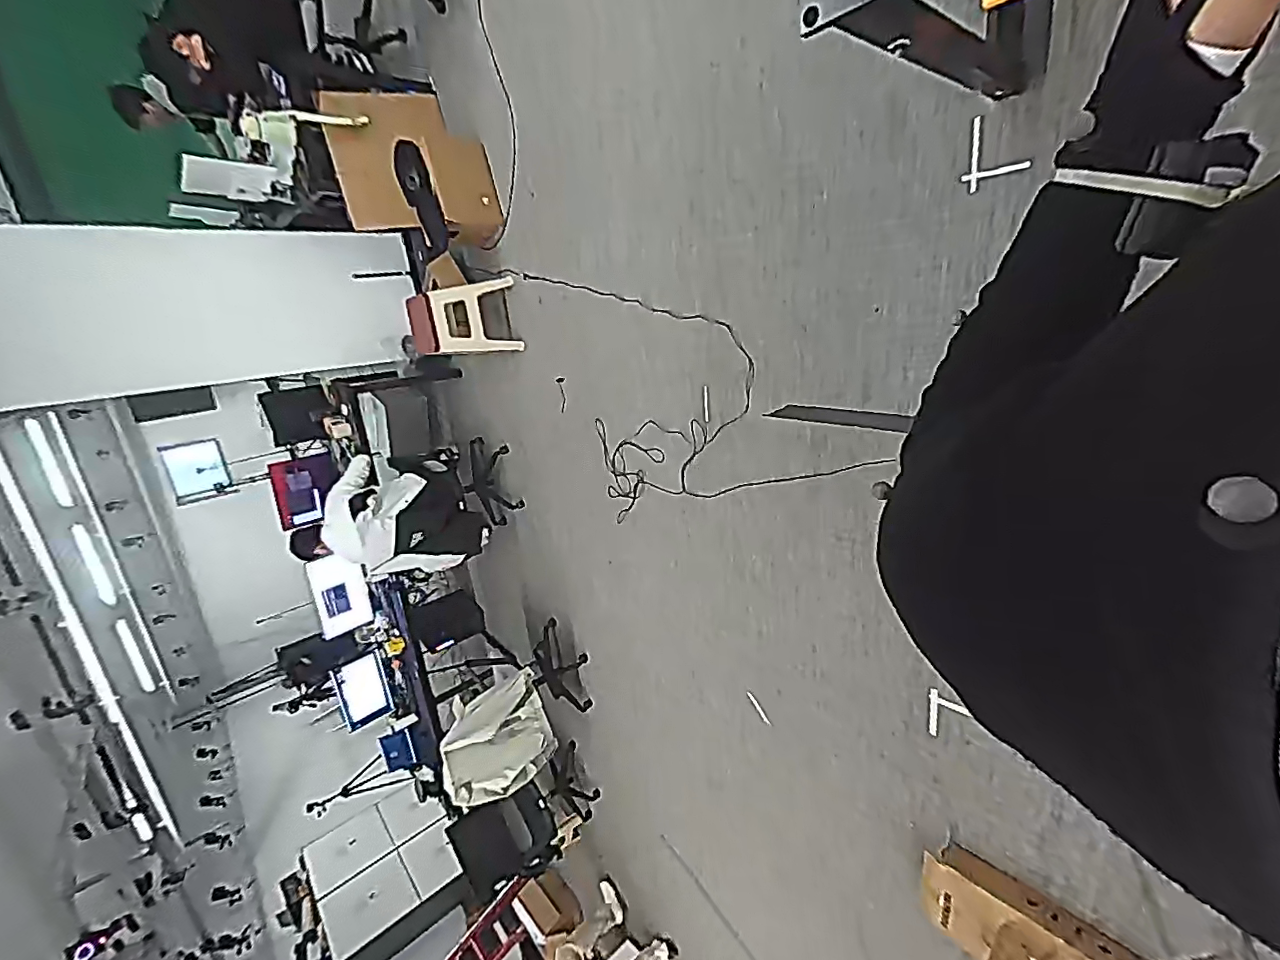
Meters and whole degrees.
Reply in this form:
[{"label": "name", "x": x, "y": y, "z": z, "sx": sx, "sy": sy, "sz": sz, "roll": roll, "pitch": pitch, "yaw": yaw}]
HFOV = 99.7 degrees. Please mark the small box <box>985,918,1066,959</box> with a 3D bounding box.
[{"label": "small box", "x": 1.088, "y": 1.418, "z": 1.535, "sx": 0.168, "sy": 0.176, "sz": 0.179, "roll": 20, "pitch": 121, "yaw": 46}]
